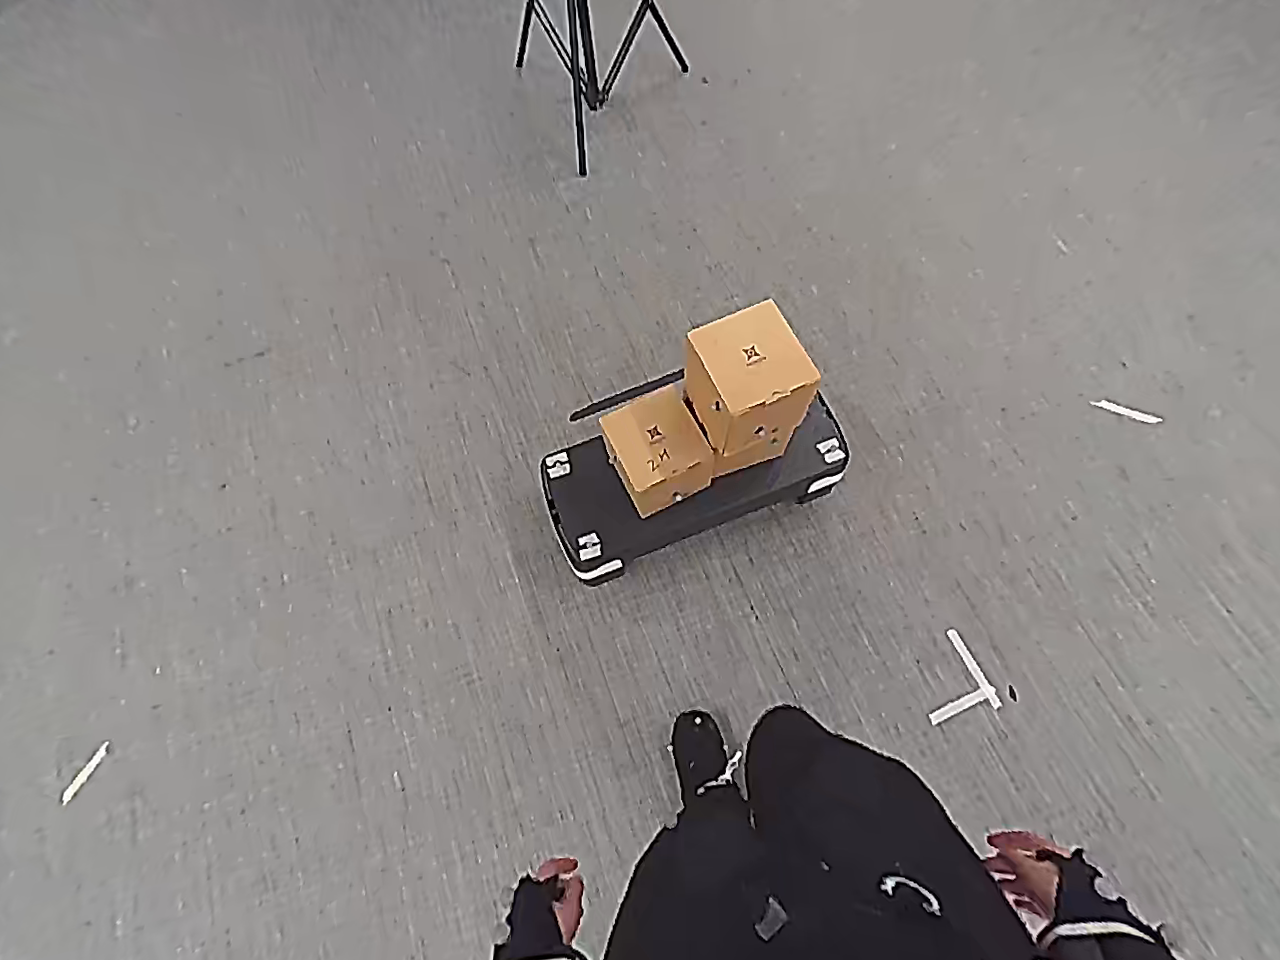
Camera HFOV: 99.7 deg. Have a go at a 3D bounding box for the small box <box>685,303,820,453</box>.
[{"bbox_3d":[0.188,-0.176,0.971,0.168,0.176,0.179,-23,71,-6],"label":"small box"}]

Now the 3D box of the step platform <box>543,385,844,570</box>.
[{"bbox_3d":[0.121,-0.039,1.283,0.684,0.204,0.286,-21,69,-4],"label":"step platform"}]
